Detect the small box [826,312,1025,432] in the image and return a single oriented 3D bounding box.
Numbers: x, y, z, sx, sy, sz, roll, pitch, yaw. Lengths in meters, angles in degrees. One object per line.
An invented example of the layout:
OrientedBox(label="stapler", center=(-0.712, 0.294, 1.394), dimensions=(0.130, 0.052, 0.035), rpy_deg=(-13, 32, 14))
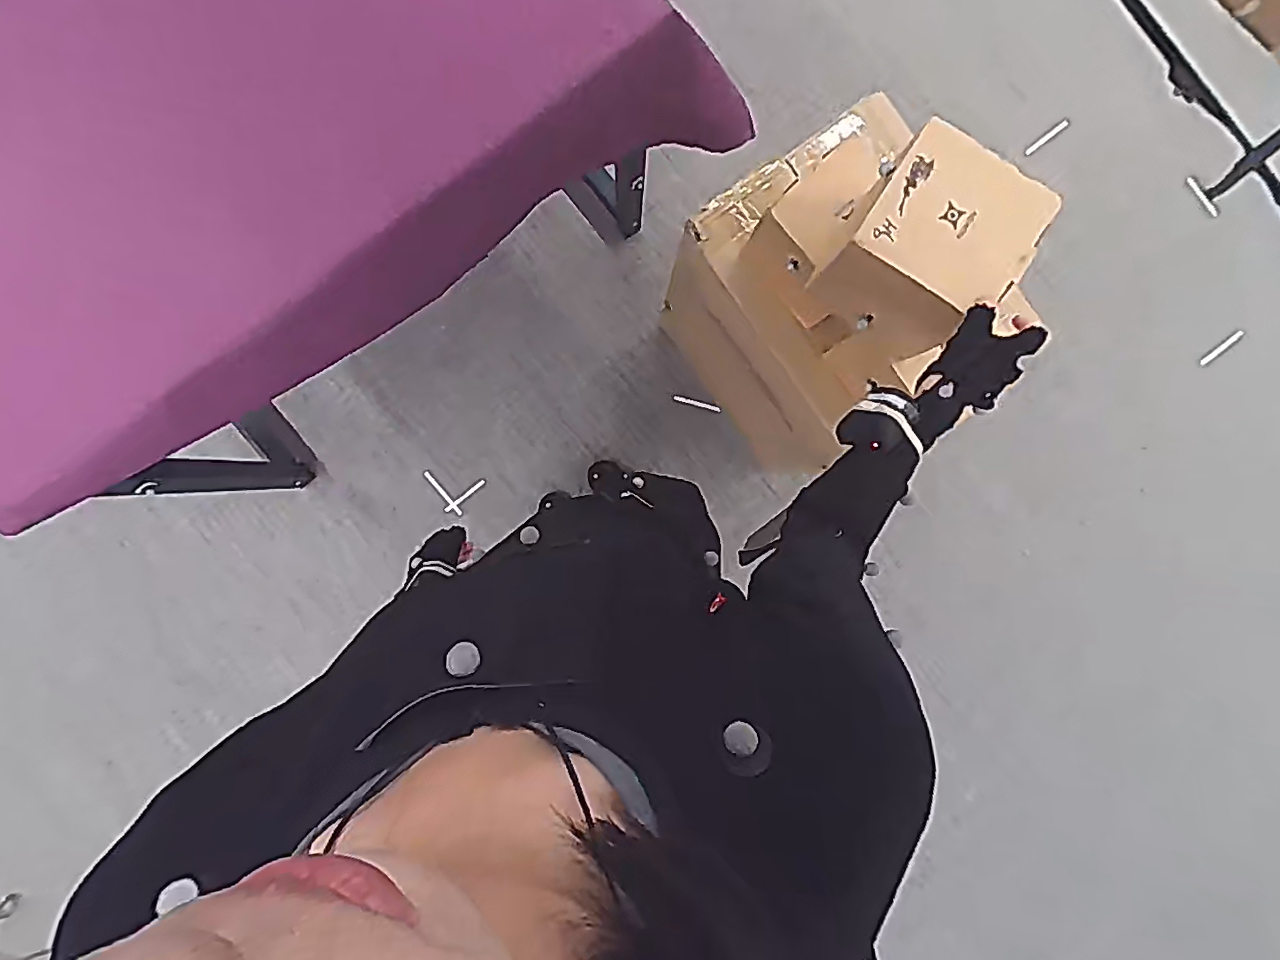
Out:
OrientedBox(label="small box", center=(0.423, -0.186, 0.831), dimensions=(0.168, 0.176, 0.179), rpy_deg=(-36, 89, -1))

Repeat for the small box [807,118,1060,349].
OrientedBox(label="small box", center=(0.342, -0.280, 0.666), dimensions=(0.179, 0.176, 0.168), rpy_deg=(33, 89, -2))

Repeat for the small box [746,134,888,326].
OrientedBox(label="small box", center=(0.288, -0.365, 0.828), dimensions=(0.168, 0.176, 0.179), rpy_deg=(-41, 93, 0))
